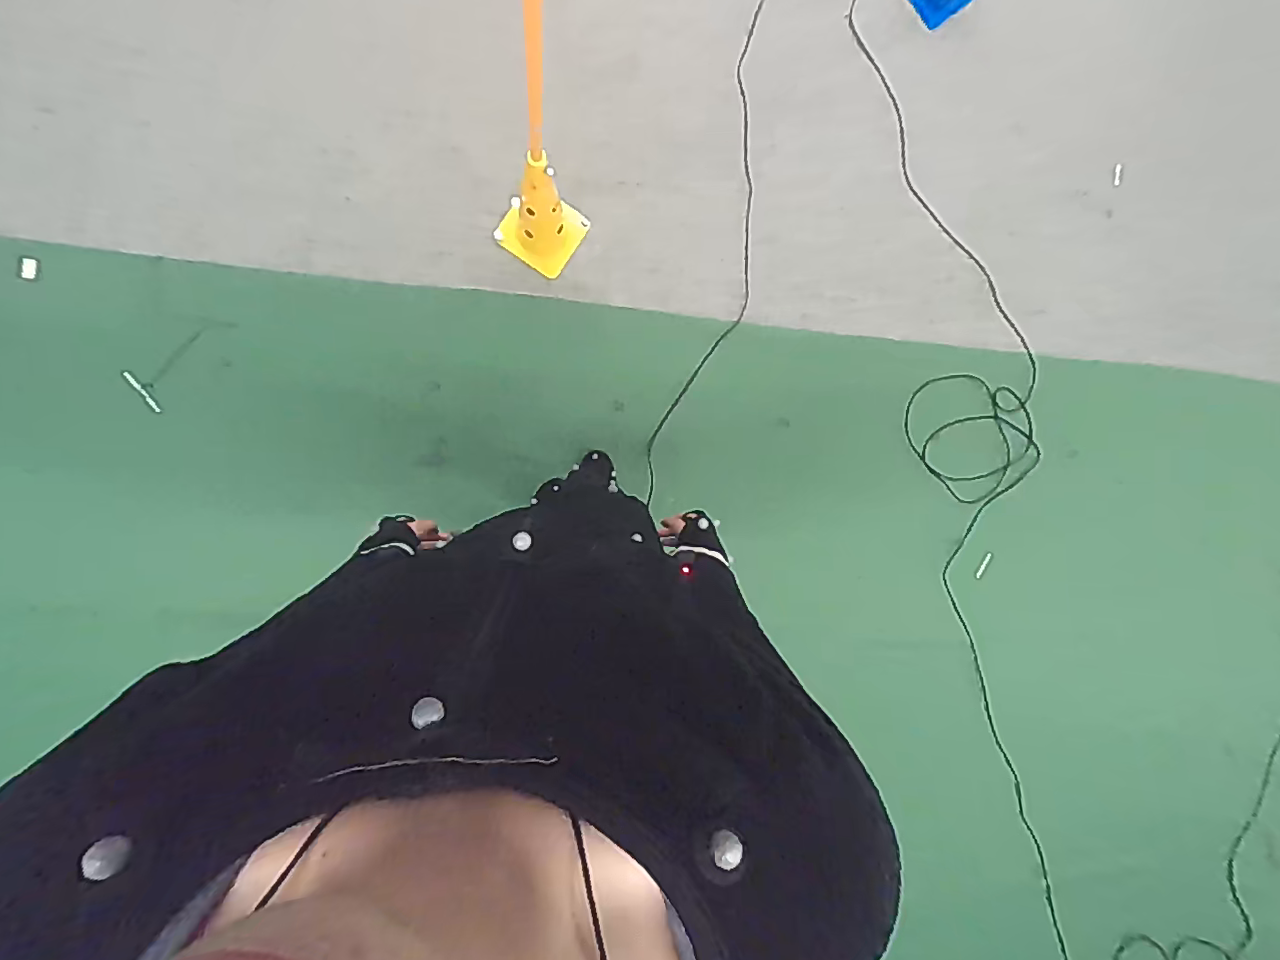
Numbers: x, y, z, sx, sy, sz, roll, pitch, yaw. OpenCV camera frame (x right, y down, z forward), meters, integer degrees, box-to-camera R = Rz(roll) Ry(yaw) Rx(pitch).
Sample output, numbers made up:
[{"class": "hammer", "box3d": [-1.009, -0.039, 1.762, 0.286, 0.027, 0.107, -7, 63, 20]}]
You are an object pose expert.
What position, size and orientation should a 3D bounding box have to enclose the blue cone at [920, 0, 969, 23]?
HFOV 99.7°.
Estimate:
[{"class": "blue cone", "box3d": [0.933, -1.505, 1.471, 0.193, 0.380, 0.192, -42, 96, -8]}]
